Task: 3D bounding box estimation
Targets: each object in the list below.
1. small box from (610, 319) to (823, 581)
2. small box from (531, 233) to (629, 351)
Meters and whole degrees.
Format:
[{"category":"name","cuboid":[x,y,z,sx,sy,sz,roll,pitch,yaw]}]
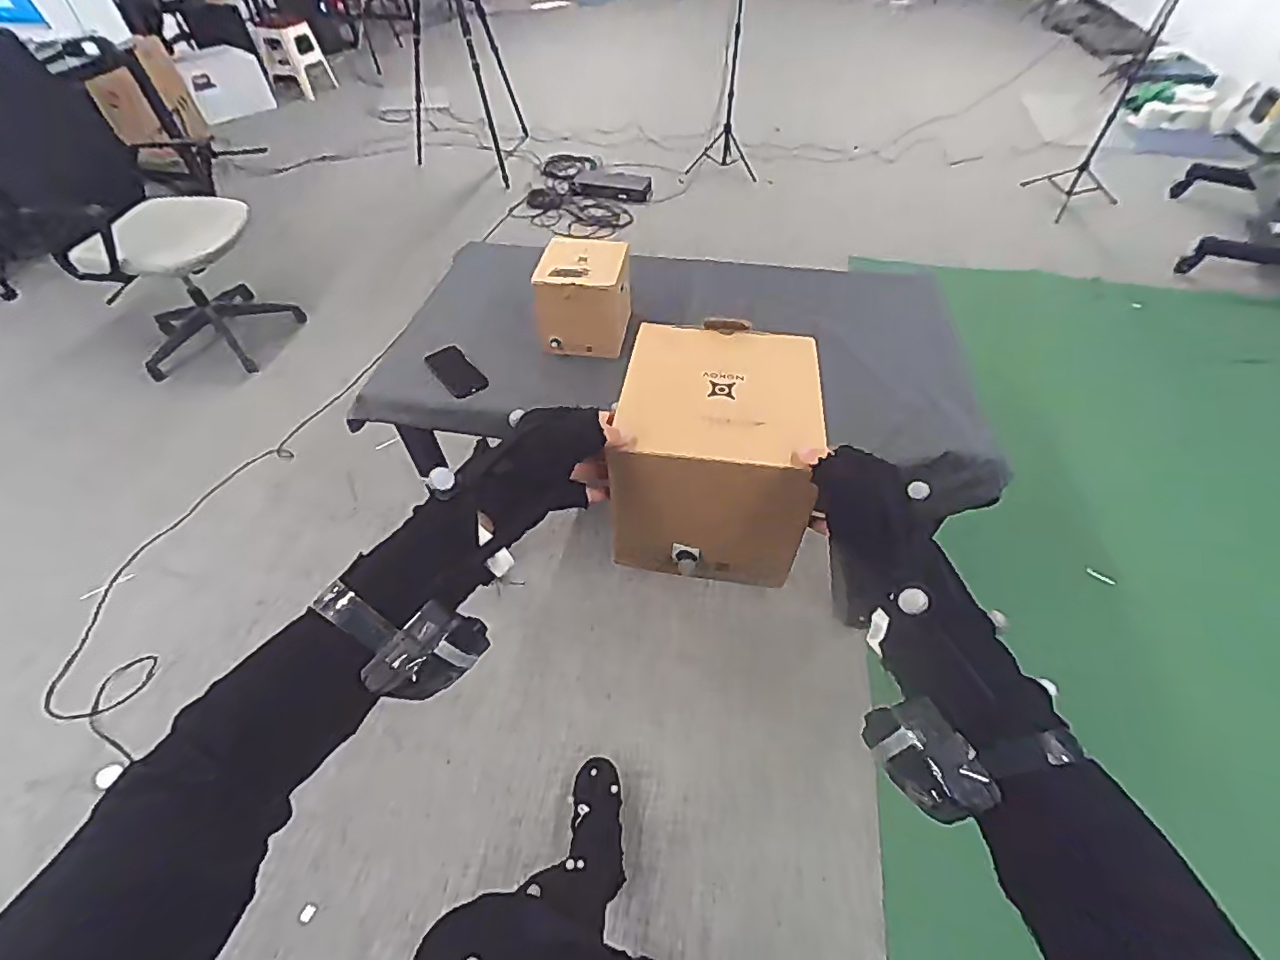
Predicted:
[{"category":"small box","cuboid":[0.068,-0.029,0.521,0.168,0.176,0.179,7,50,6]},{"category":"small box","cuboid":[-0.116,-0.391,1.132,0.168,0.176,0.179,6,51,5]}]
